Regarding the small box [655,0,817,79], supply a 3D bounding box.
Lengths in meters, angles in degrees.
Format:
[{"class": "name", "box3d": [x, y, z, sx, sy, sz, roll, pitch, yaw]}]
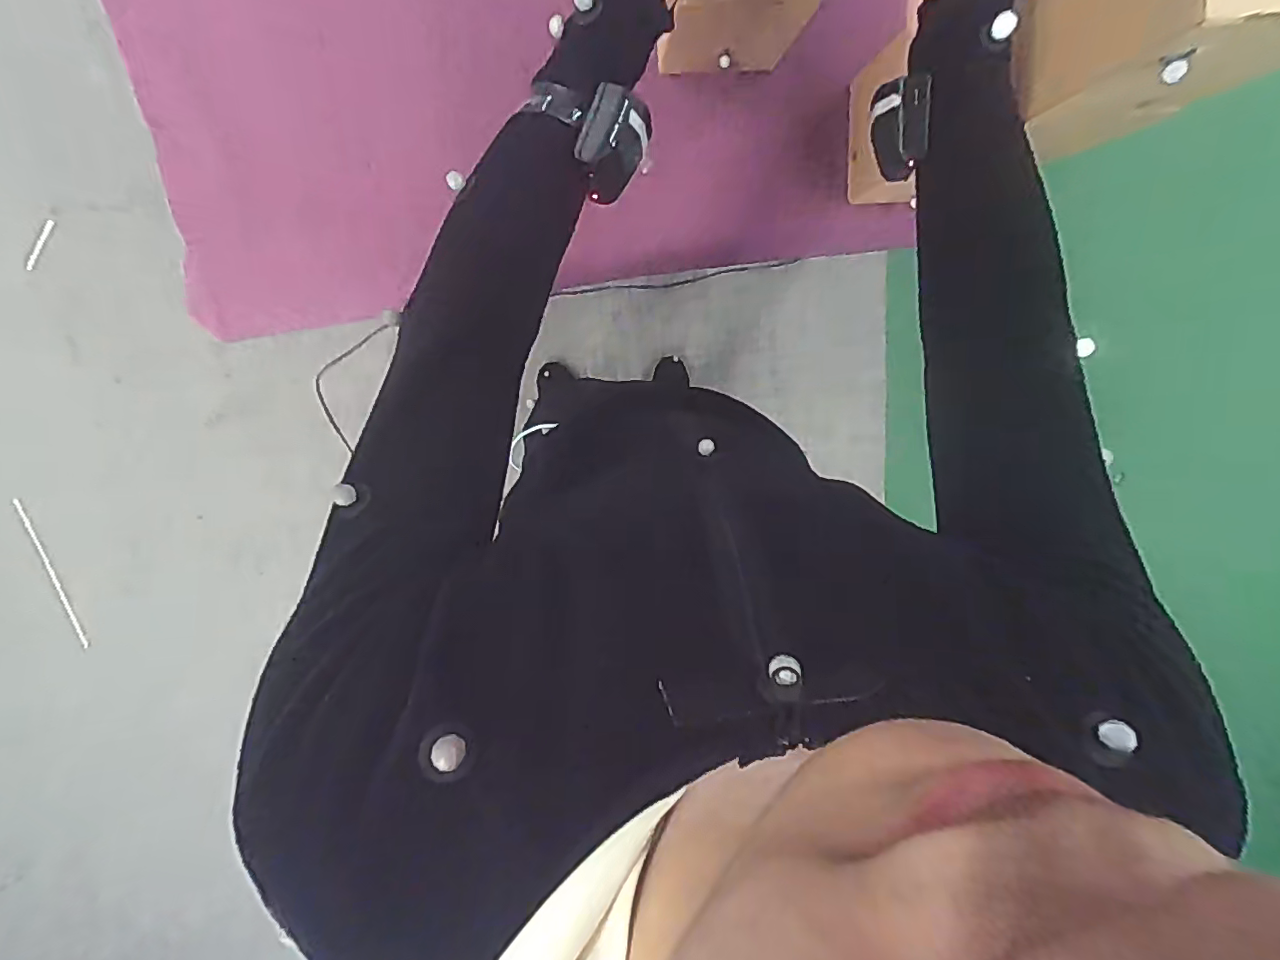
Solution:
[{"class": "small box", "box3d": [0.109, -0.635, 0.668, 0.168, 0.176, 0.179, -5, 105, -4]}]

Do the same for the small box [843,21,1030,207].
[{"class": "small box", "box3d": [0.401, -0.483, 0.736, 0.179, 0.176, 0.168, -5, 104, -4]}]

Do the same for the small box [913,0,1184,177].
[{"class": "small box", "box3d": [0.418, -0.447, 0.578, 0.168, 0.176, 0.179, -5, 105, -3]}]

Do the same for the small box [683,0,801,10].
[{"class": "small box", "box3d": [0.117, -0.598, 0.510, 0.168, 0.176, 0.179, -8, 106, -4]}]
